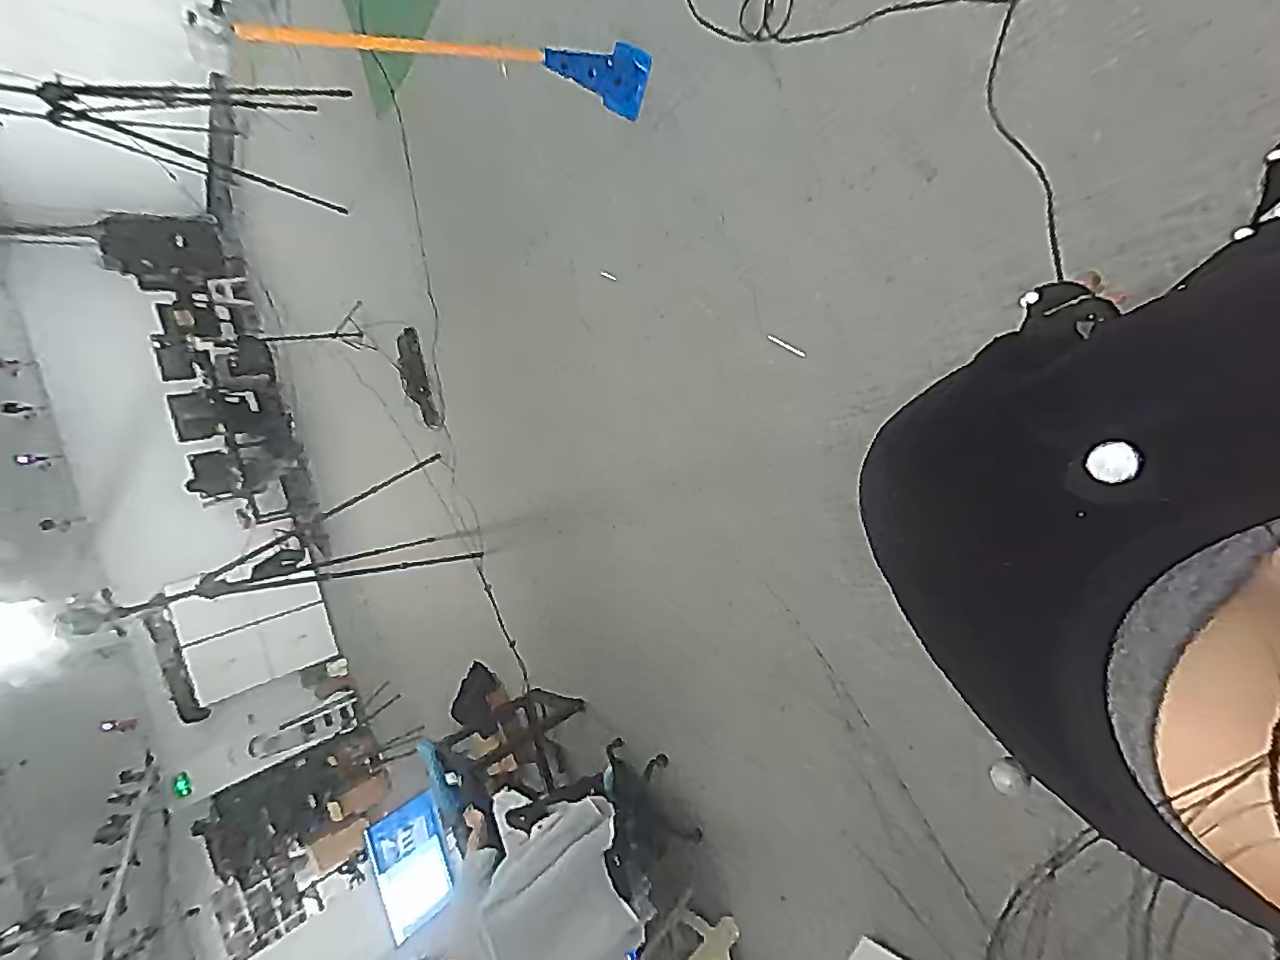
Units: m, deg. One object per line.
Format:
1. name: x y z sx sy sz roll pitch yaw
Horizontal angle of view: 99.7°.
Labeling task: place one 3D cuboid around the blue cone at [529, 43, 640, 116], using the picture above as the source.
1. blue cone: -0.193 -1.354 1.780 0.192 0.380 0.193 44 134 27
